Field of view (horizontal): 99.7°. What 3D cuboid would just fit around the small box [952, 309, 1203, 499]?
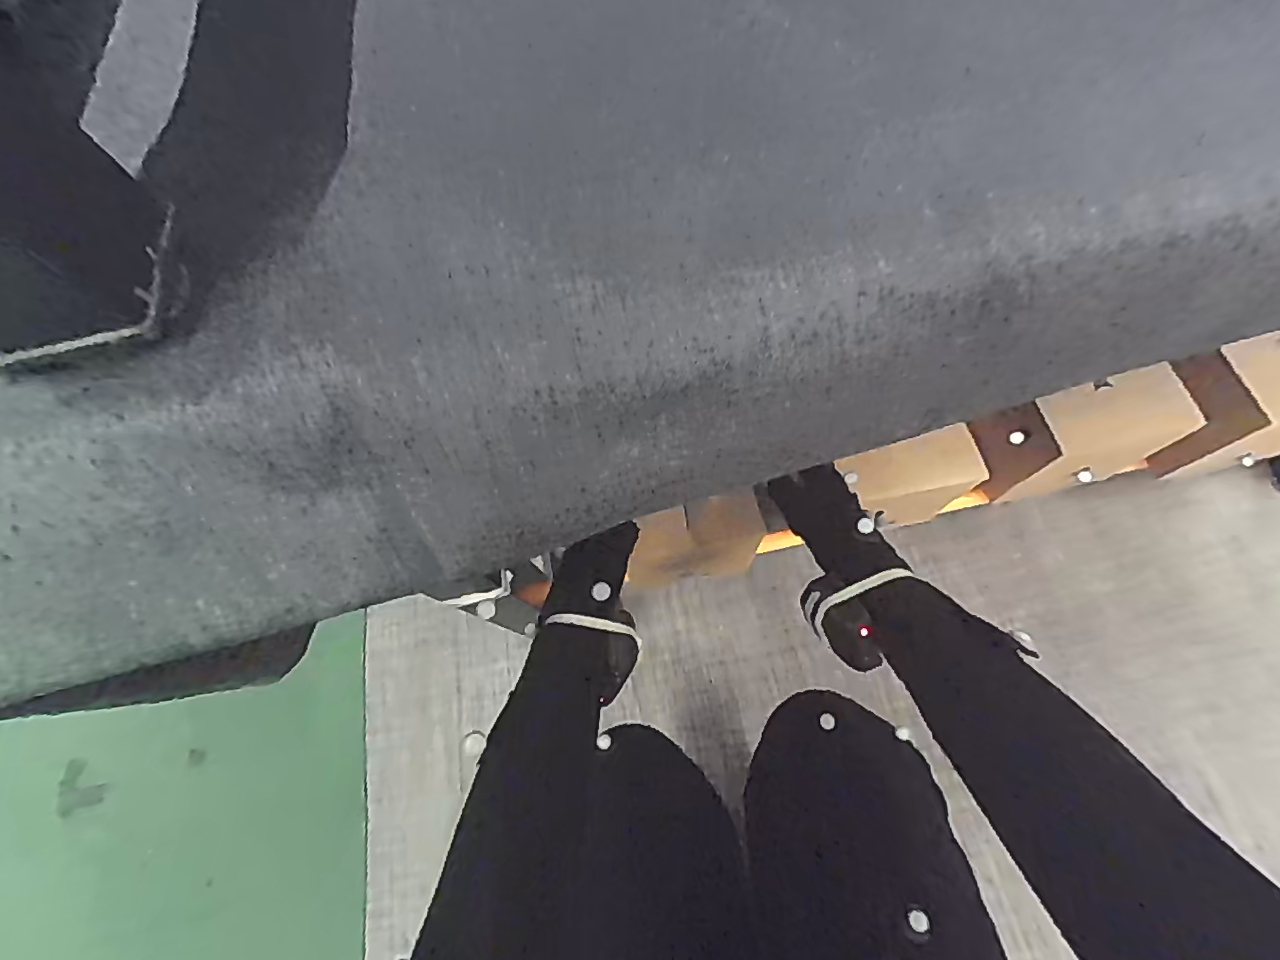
[{"bbox_3d":[0.545,-0.087,0.712,0.168,0.176,0.179,-13,66,1],"label":"small box"}]

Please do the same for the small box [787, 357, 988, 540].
[{"bbox_3d":[0.306,-0.030,0.714,0.168,0.176,0.179,-11,66,1],"label":"small box"}]
